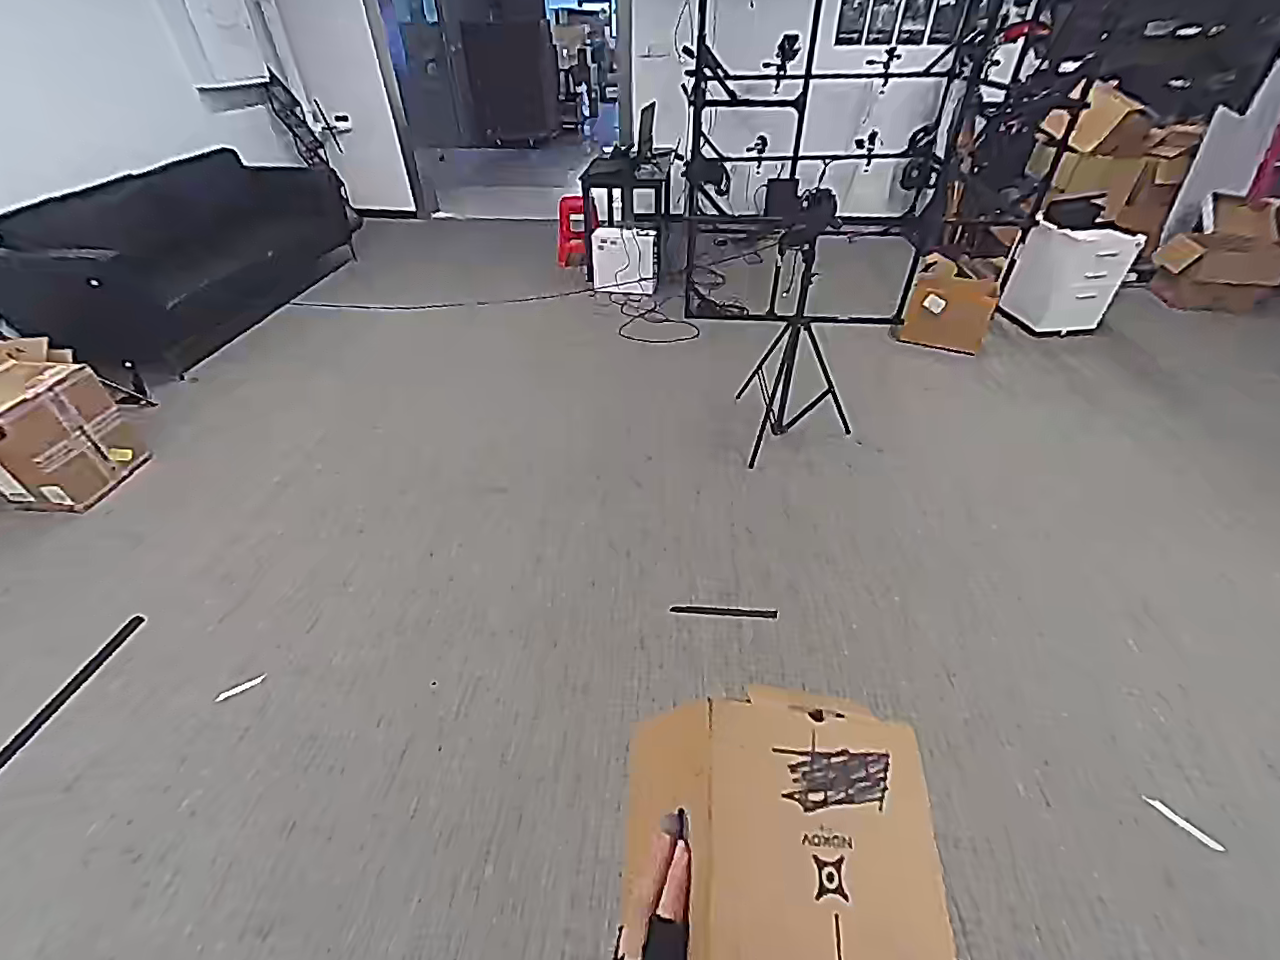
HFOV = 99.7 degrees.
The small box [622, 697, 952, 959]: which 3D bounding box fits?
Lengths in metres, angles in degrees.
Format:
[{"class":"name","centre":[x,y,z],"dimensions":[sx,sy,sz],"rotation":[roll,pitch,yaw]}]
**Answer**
[{"class":"small box","centre":[0.091,0.277,0.403],"dimensions":[0.168,0.176,0.179],"rotation":[13,57,-13]}]
